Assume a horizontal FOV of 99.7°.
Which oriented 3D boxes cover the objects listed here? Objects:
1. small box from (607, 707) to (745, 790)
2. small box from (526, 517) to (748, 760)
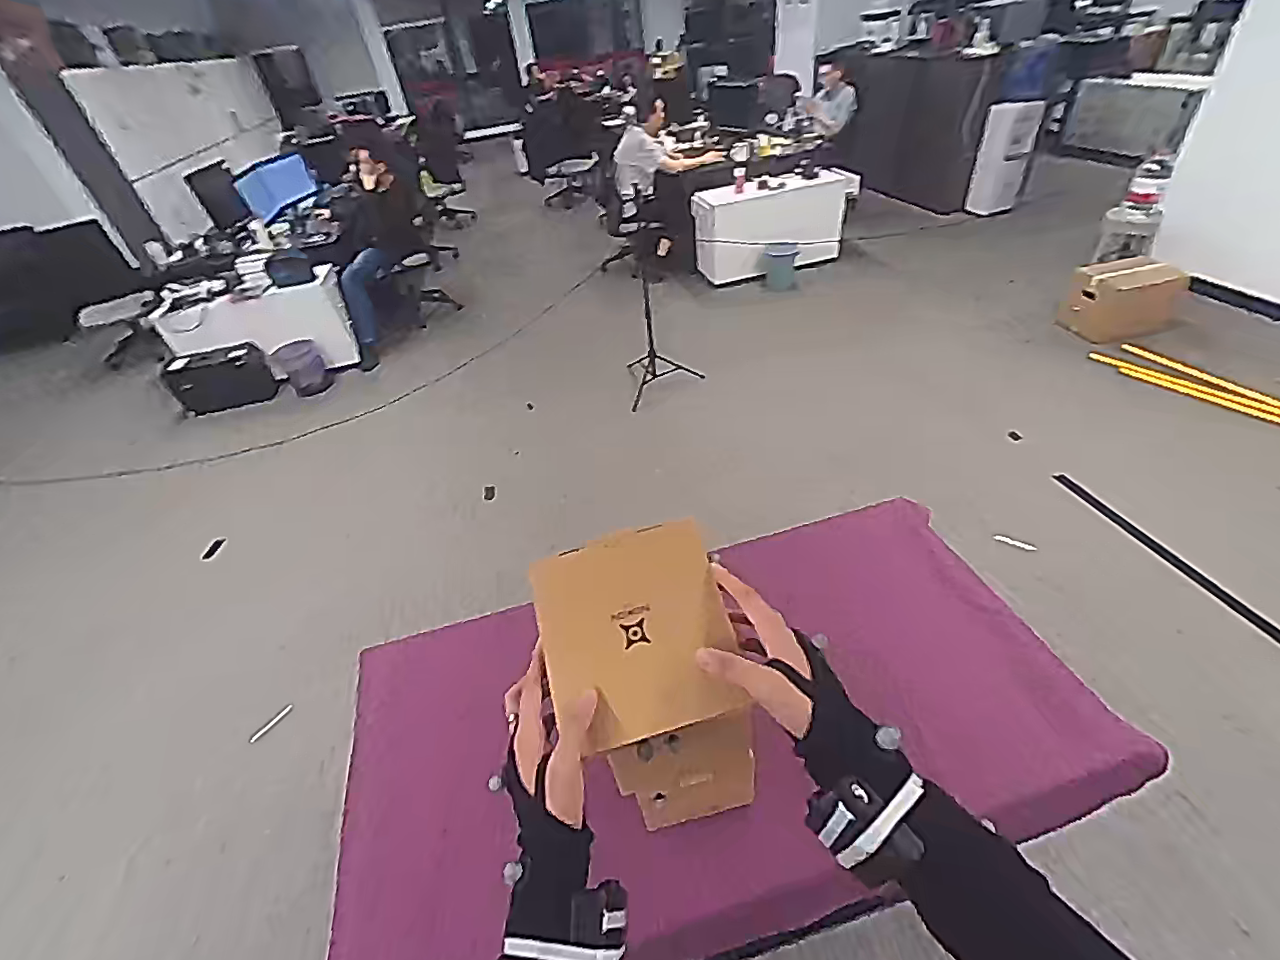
[{"bbox_3d":[0.032,0.278,0.713,0.179,0.176,0.168,-12,40,-4],"label":"small box"},{"bbox_3d":[0.000,0.165,0.546,0.168,0.176,0.179,-16,62,-2],"label":"small box"}]
